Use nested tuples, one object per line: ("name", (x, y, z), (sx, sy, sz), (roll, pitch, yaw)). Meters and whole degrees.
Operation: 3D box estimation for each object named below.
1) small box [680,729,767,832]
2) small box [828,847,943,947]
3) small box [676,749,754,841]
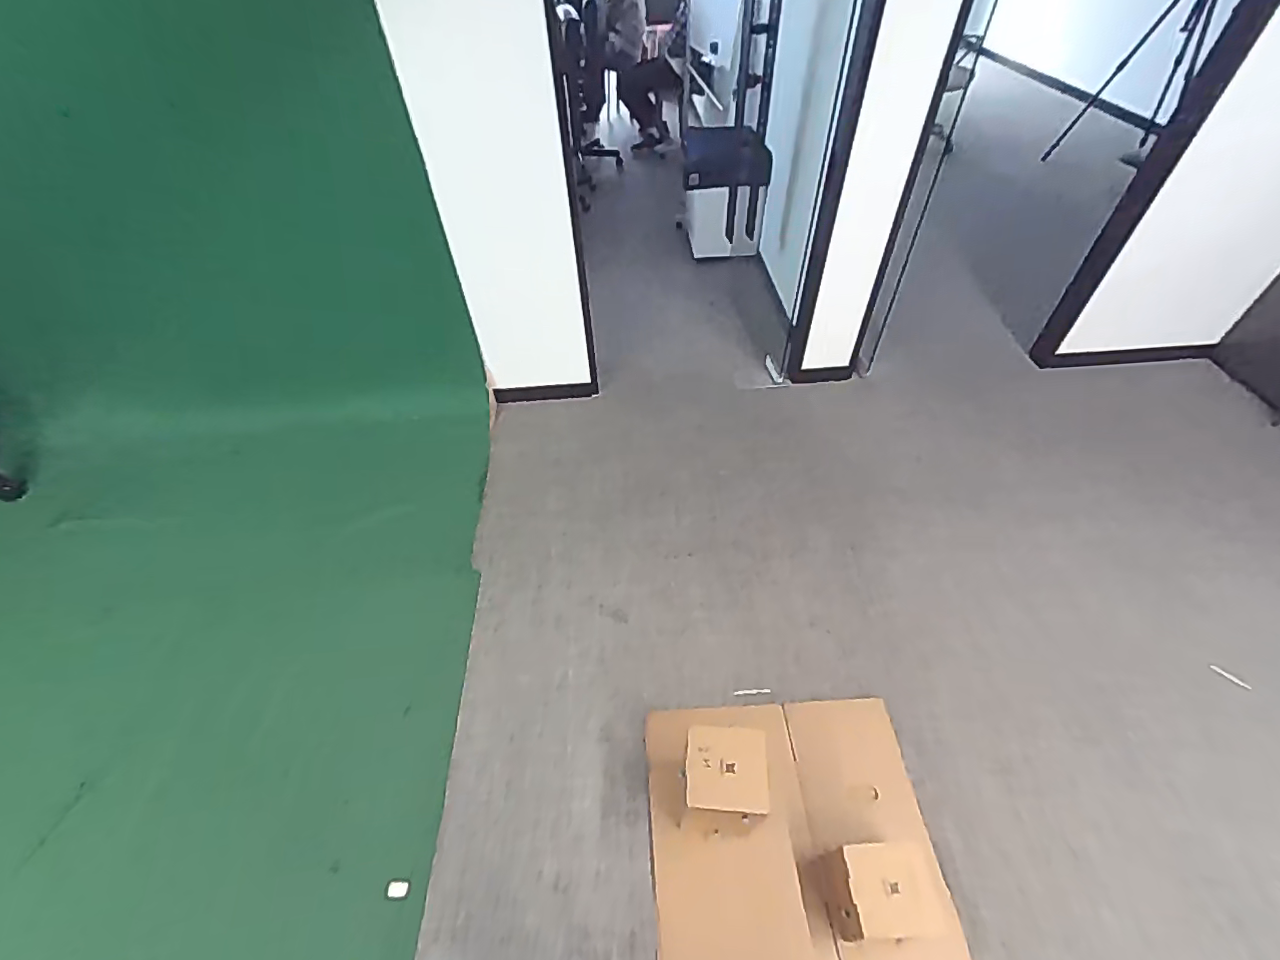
("small box", (0.184, 0.684, 1.226), (0.179, 0.176, 0.168), (3, 48, 5))
("small box", (0.535, 0.937, 1.213), (0.179, 0.176, 0.168), (-3, 48, 0))
("small box", (0.185, 0.789, 1.354), (0.179, 0.176, 0.168), (3, 48, 5))
